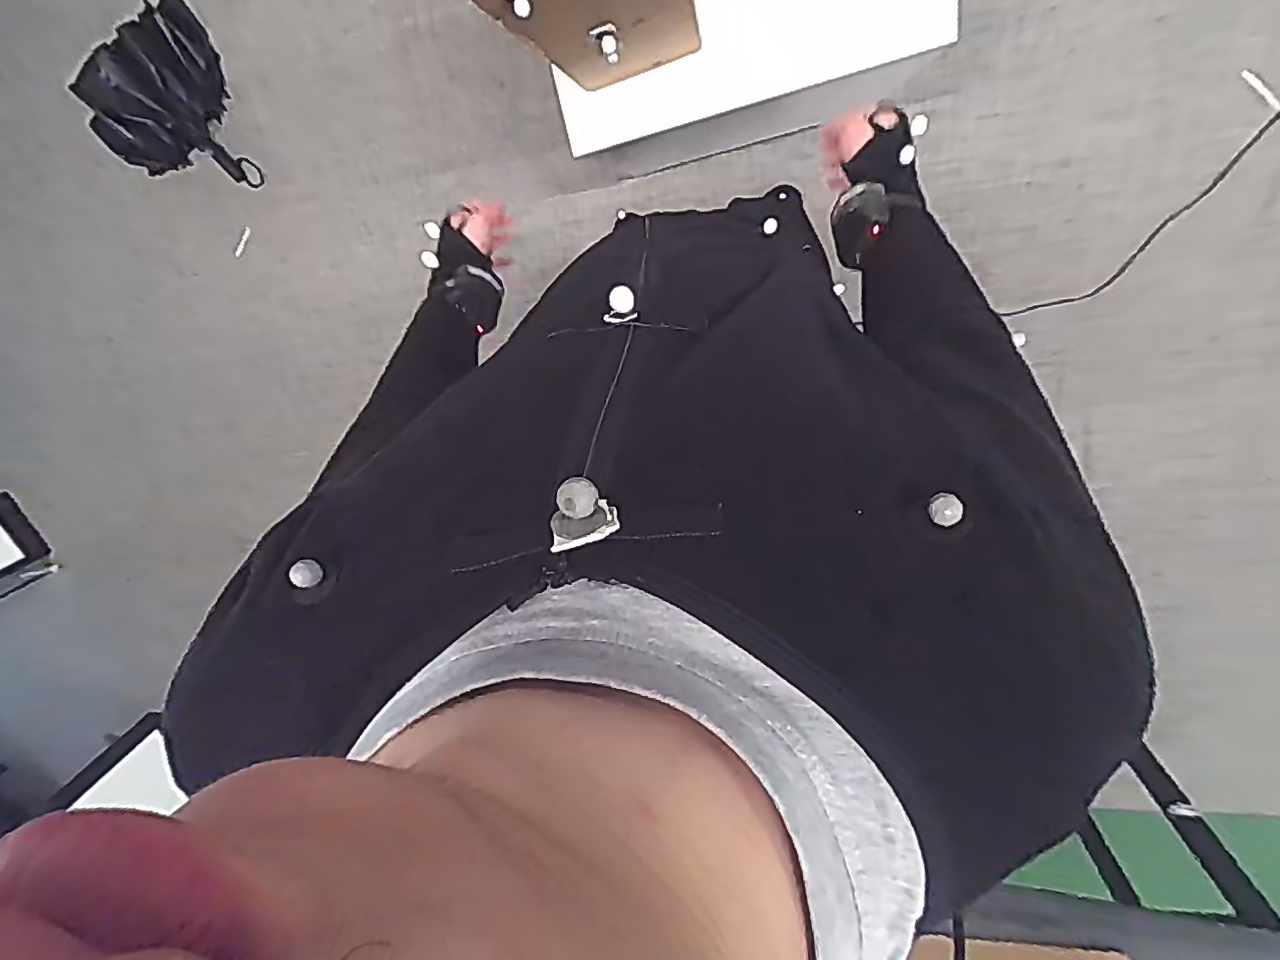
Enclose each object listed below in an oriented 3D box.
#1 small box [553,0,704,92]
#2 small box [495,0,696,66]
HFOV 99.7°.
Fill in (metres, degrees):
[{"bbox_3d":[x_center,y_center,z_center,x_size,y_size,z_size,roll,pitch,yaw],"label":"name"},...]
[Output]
[{"bbox_3d":[-0.025,-0.588,0.623,0.168,0.176,0.179,-10,113,15],"label":"small box"},{"bbox_3d":[-0.052,-0.515,0.480,0.168,0.176,0.179,-12,114,17],"label":"small box"}]
